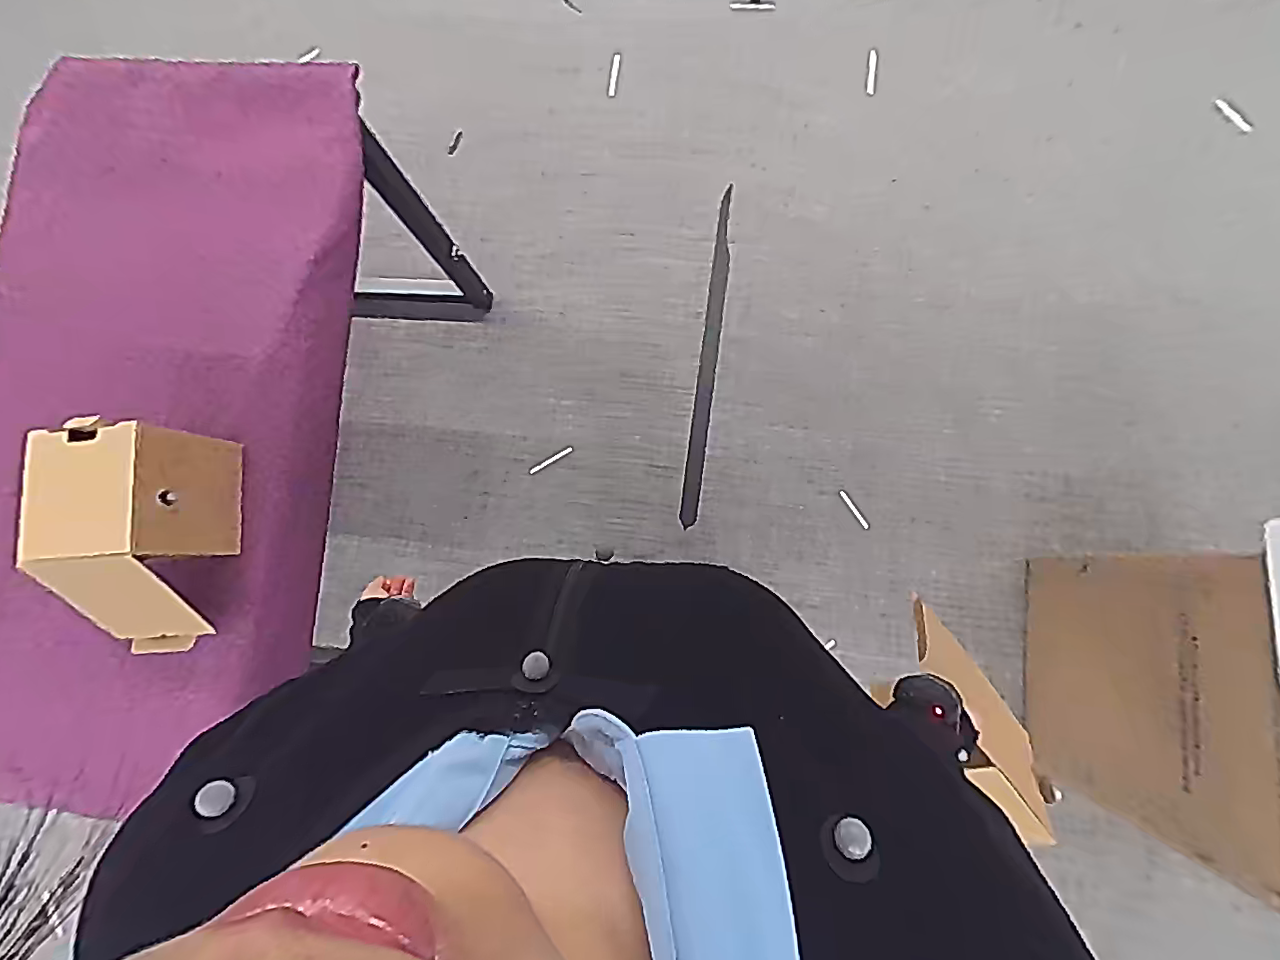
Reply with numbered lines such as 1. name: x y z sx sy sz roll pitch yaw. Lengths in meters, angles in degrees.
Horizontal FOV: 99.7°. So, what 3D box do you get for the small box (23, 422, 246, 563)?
1. small box: -0.710 0.026 0.778 0.168 0.176 0.179 -4 82 5
